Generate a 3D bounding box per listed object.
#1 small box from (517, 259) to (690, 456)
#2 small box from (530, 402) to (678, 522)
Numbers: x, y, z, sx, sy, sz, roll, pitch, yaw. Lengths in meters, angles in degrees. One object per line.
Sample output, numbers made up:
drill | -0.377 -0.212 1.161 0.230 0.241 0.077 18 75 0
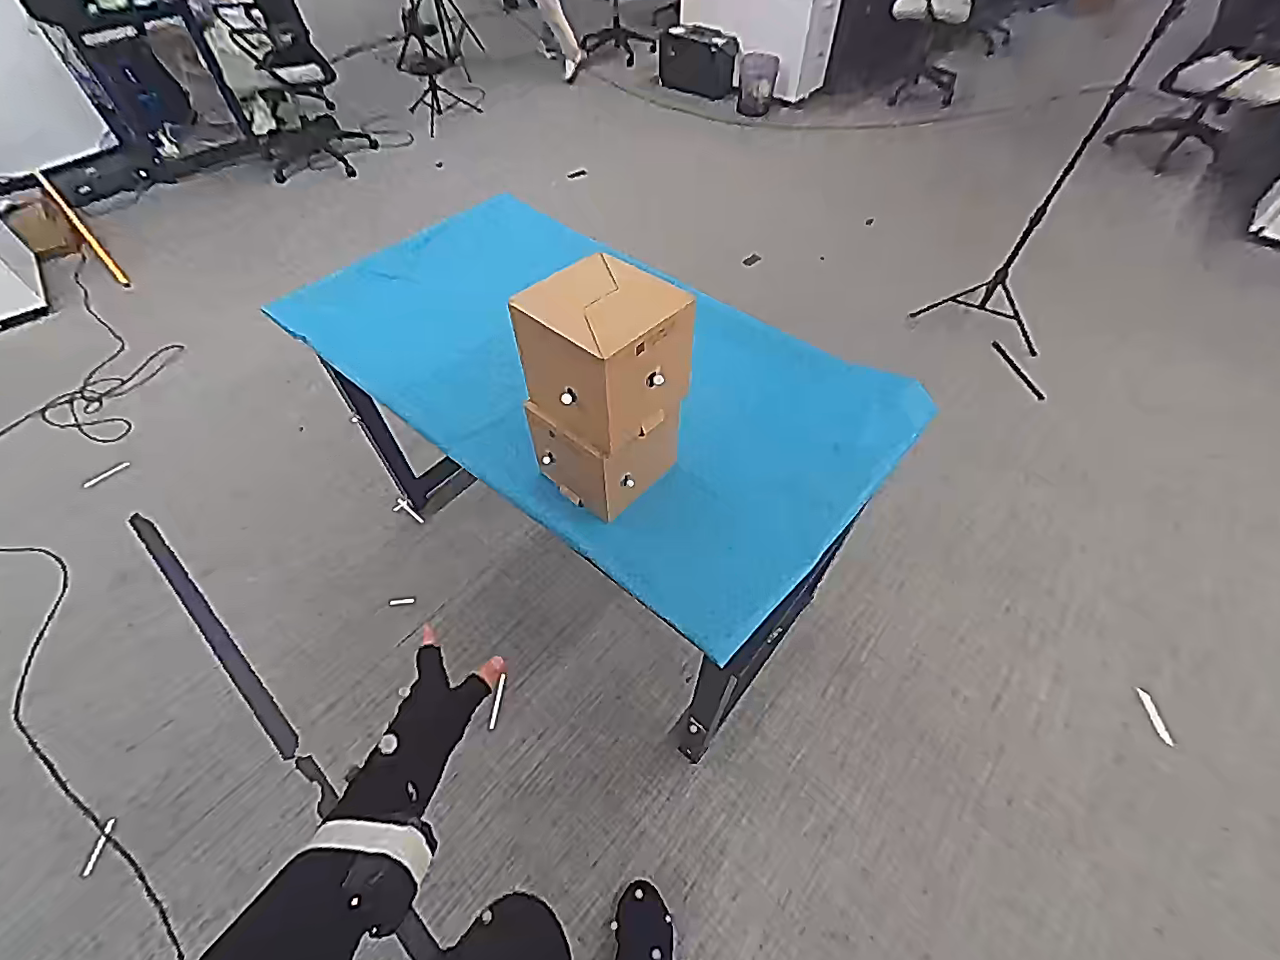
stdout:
small box | -0.046 -0.172 0.740 0.179 0.176 0.168 35 59 26
small box | -0.056 -0.072 0.870 0.168 0.176 0.179 35 60 23
